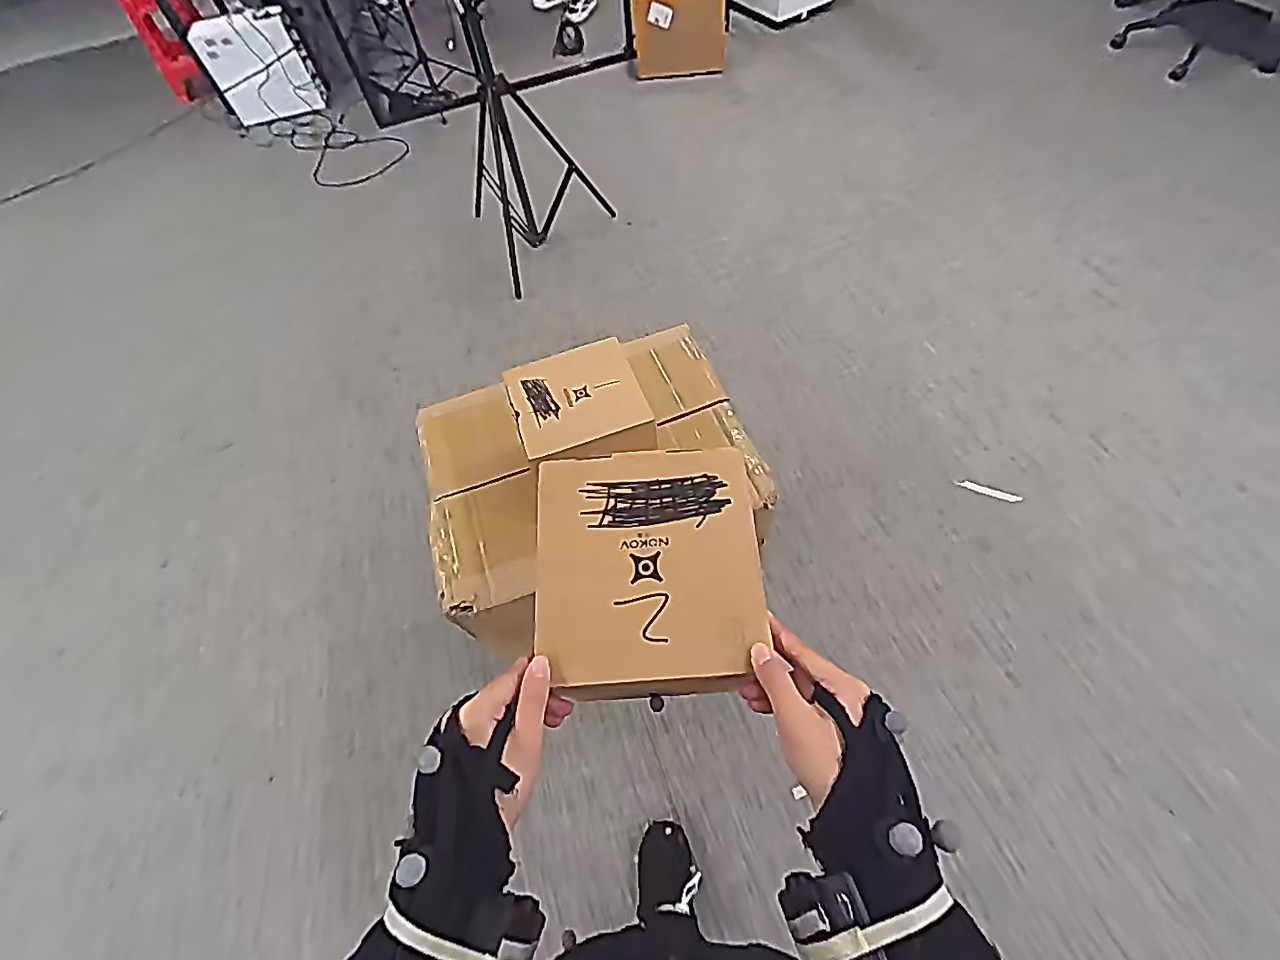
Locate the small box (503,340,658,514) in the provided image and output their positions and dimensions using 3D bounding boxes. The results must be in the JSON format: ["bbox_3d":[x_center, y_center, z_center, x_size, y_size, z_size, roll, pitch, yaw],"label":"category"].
[{"bbox_3d":[-0.082,-0.072,0.806,0.179,0.176,0.168,-19,59,-6],"label":"small box"}]
